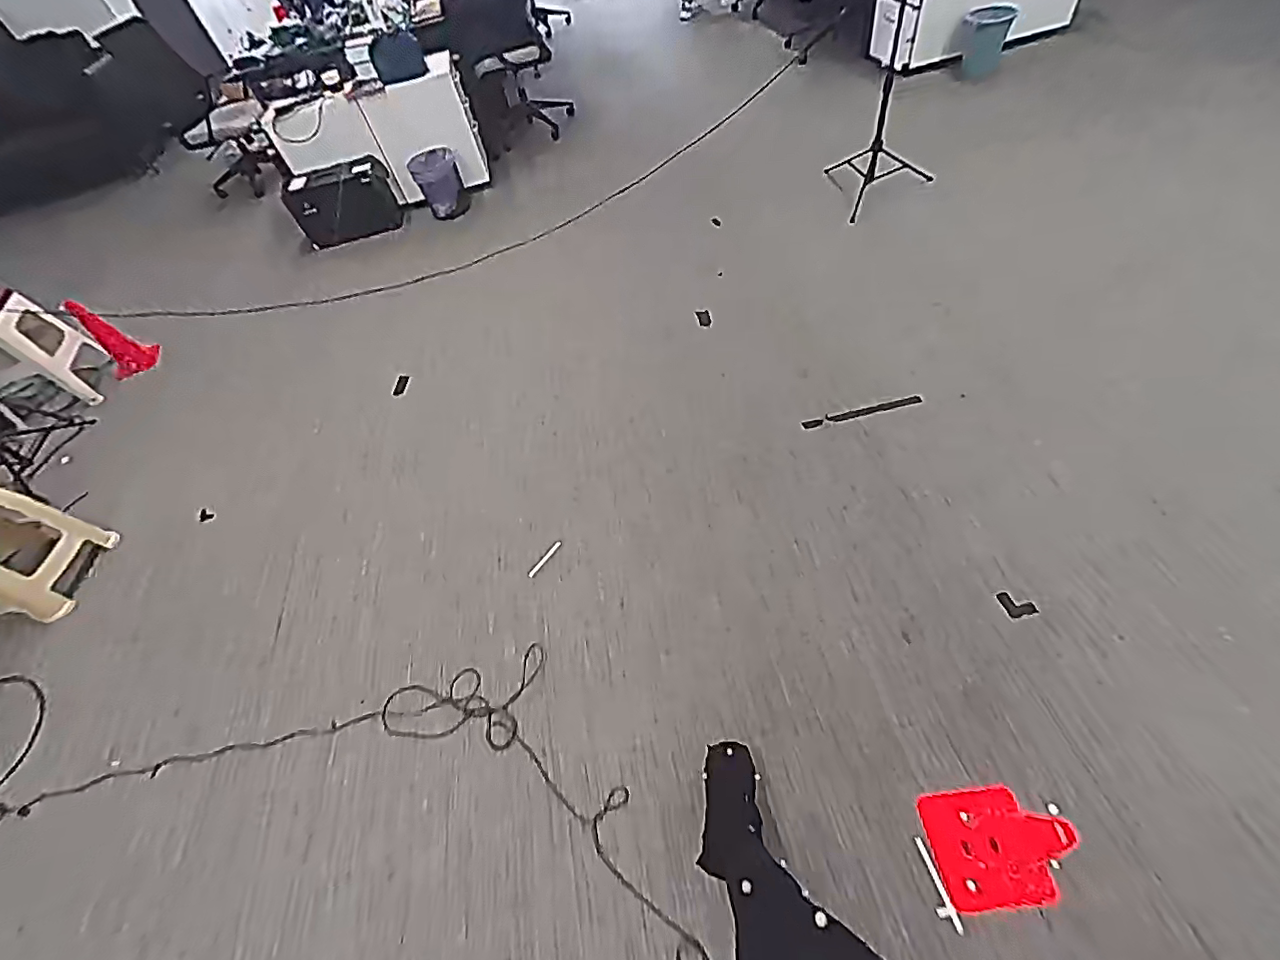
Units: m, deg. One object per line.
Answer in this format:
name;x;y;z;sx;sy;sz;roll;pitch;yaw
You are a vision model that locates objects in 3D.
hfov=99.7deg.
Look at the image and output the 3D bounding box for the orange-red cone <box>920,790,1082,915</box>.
orange-red cone;0.659;0.632;0.937;0.199;0.360;0.198;-8;53;4
